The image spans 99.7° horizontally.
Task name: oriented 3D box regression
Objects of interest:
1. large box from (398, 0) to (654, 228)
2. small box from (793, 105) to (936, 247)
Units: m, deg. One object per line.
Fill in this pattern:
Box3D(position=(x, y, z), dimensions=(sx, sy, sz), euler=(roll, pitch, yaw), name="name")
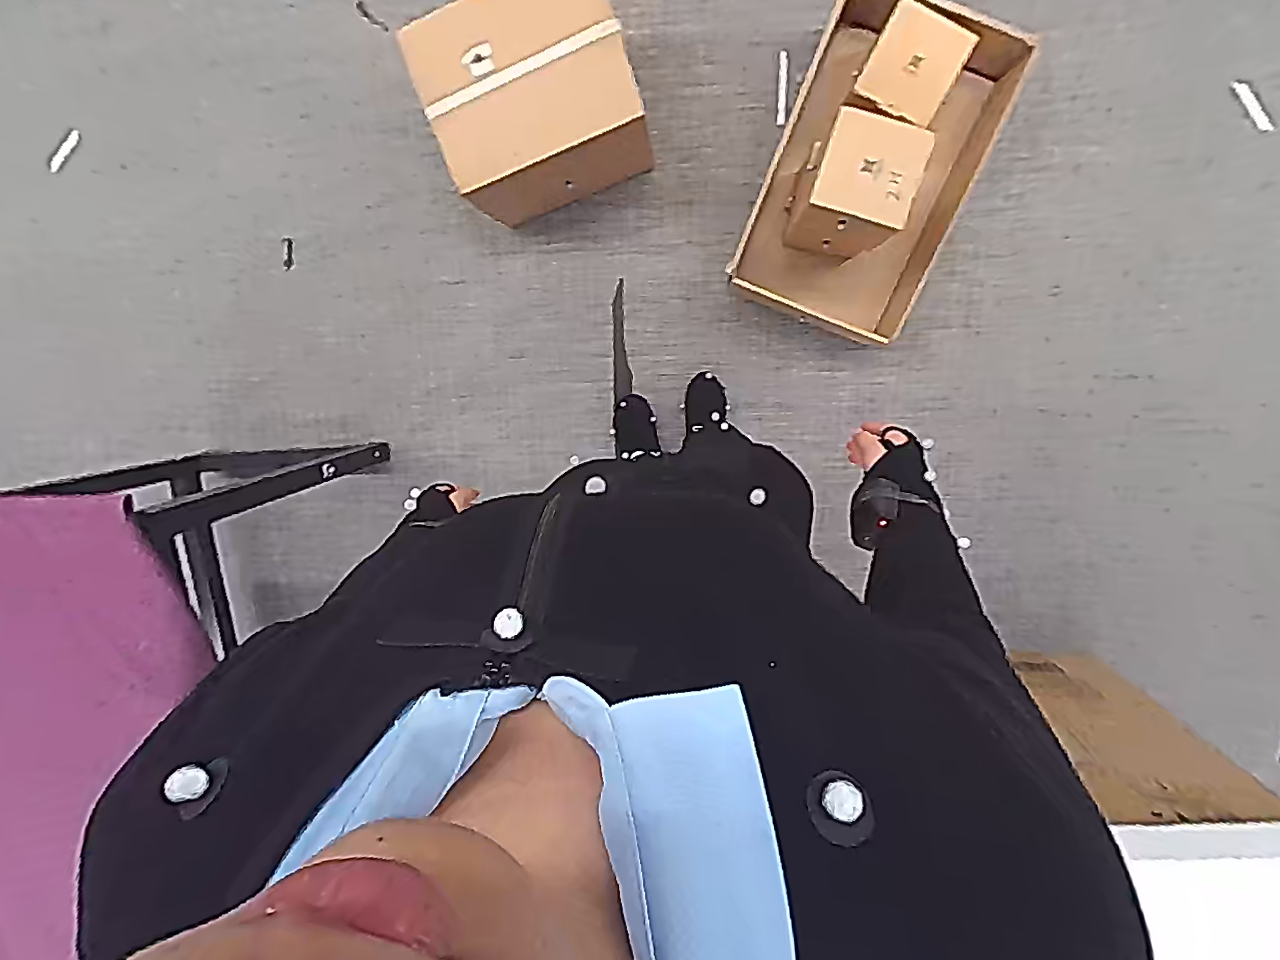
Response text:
Box3D(position=(-0.215, -0.805, 1.174), dimensions=(0.408, 0.320, 0.320), euler=(-19, 100, 10), name="large box")
Box3D(position=(0.408, -0.560, 1.022), dimensions=(0.179, 0.176, 0.168), euler=(18, 102, 0), name="small box")
